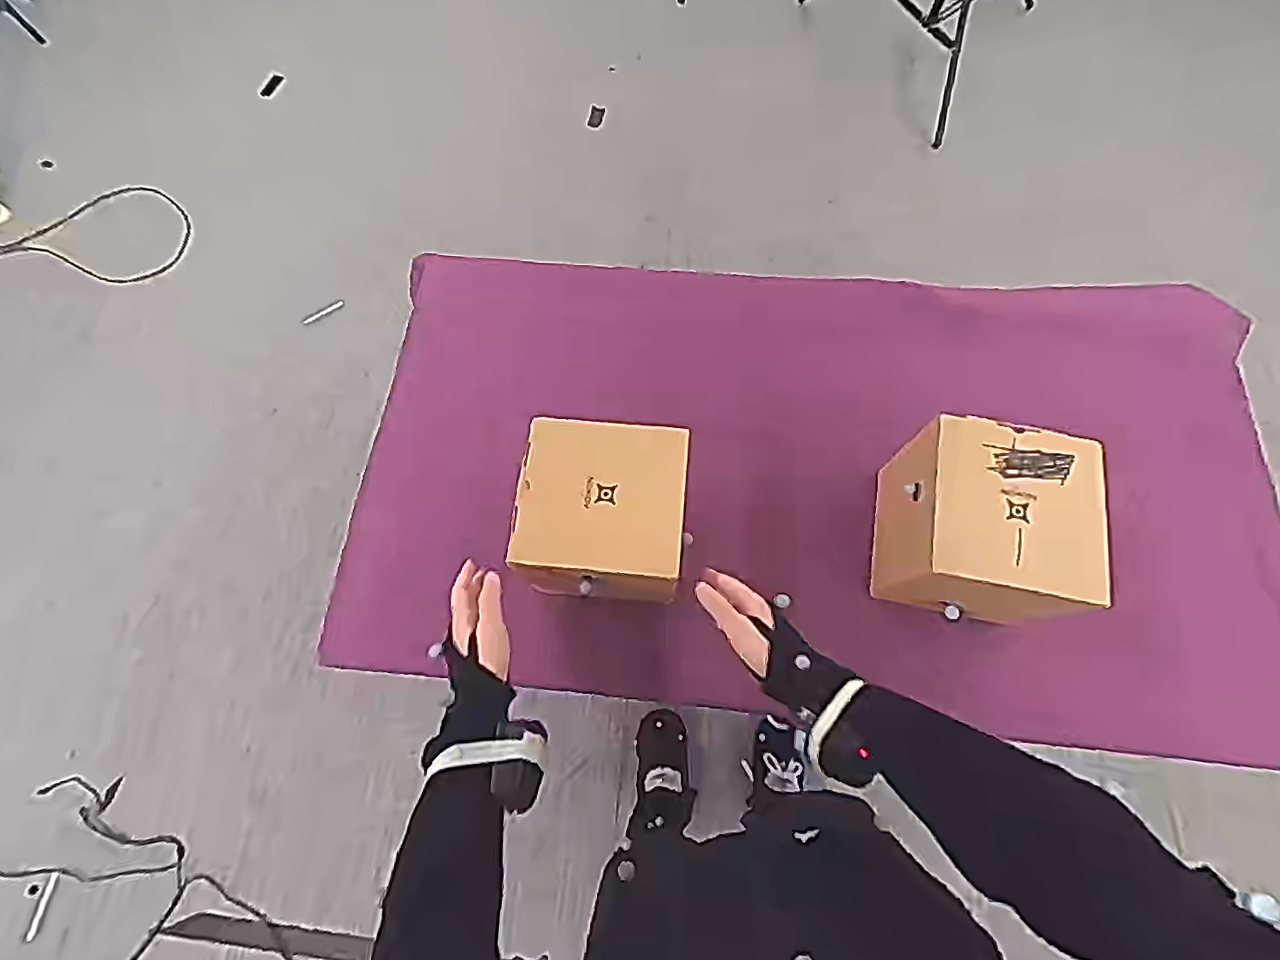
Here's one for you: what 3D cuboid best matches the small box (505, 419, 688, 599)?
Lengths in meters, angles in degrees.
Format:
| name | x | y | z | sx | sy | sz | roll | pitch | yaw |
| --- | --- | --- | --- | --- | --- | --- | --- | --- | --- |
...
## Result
| name | x | y | z | sx | sy | sz | roll | pitch | yaw |
| --- | --- | --- | --- | --- | --- | --- | --- | --- | --- |
| small box | -0.040 | 0.044 | 0.642 | 0.179 | 0.176 | 0.168 | 5 | 69 | 4 |

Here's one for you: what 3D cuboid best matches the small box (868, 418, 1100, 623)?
| name | x | y | z | sx | sy | sz | roll | pitch | yaw |
| --- | --- | --- | --- | --- | --- | --- | --- | --- | --- |
| small box | 0.379 | 0.055 | 0.625 | 0.168 | 0.176 | 0.179 | 12 | 71 | 6 |
